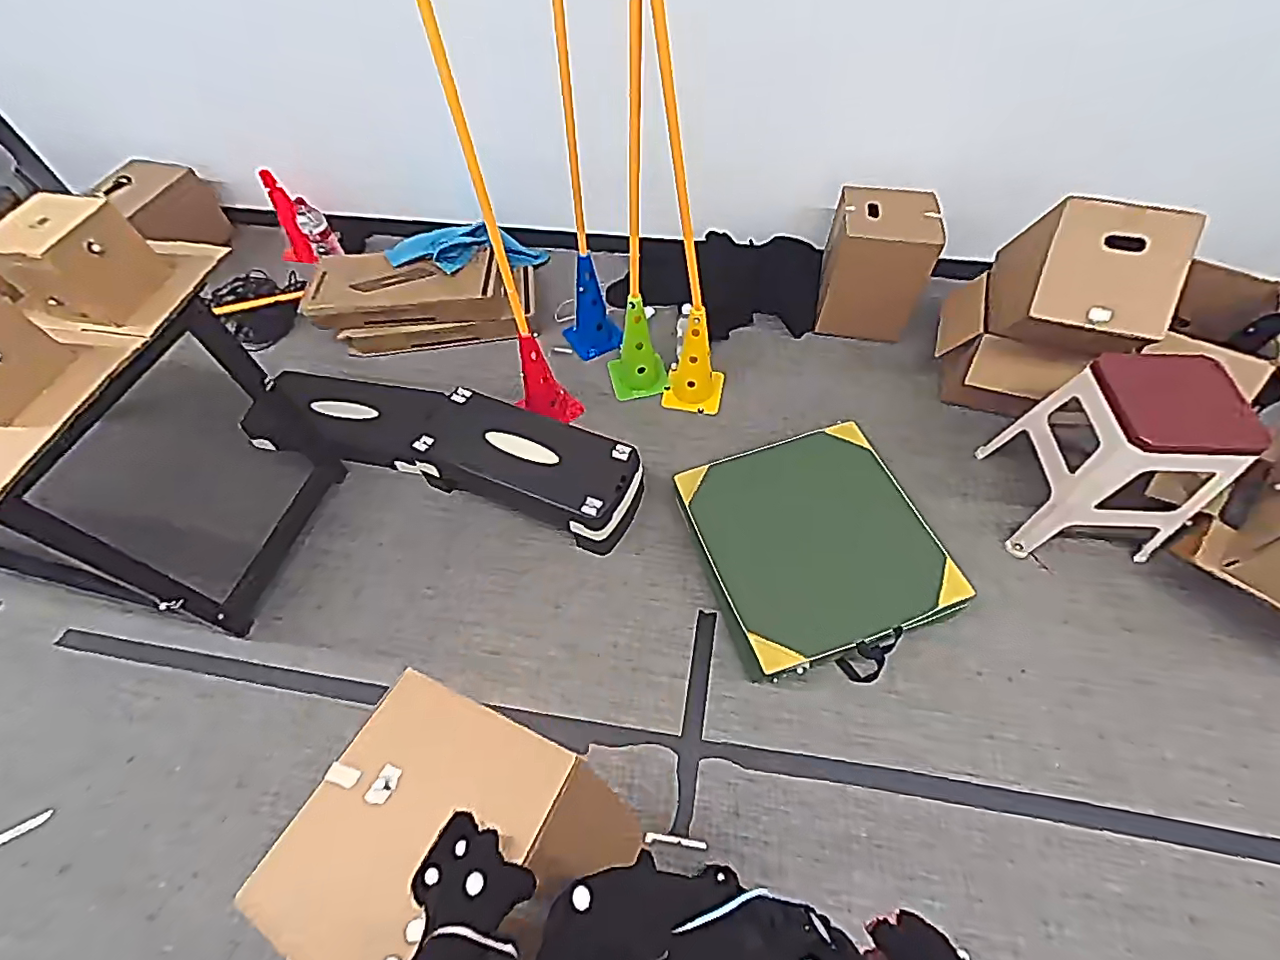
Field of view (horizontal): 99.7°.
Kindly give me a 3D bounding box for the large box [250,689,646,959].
[{"bbox_3d":[-0.228,0.567,0.787,0.320,0.408,0.320,14,53,27],"label":"large box"}]
